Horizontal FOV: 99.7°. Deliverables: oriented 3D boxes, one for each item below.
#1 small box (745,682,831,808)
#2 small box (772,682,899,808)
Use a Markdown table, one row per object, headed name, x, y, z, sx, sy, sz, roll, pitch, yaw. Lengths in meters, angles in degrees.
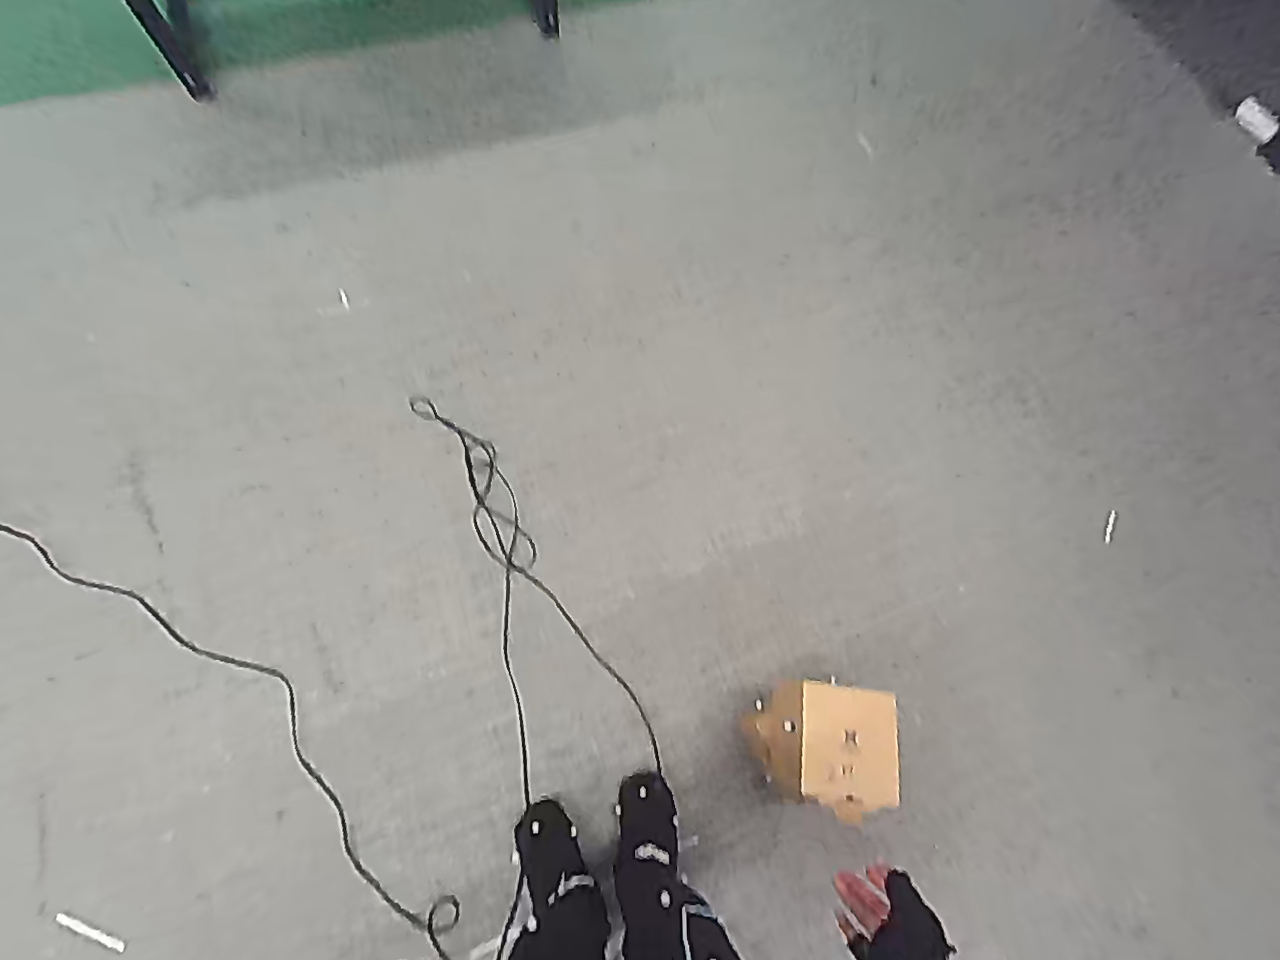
| name | x | y | z | sx | sy | sz | roll | pitch | yaw |
| --- | --- | --- | --- | --- | --- | --- | --- | --- | --- |
| small box | 0.333 | 0.535 | 1.114 | 0.179 | 0.176 | 0.168 | -24 | 74 | -13 |
| small box | 0.345 | 0.468 | 0.982 | 0.168 | 0.176 | 0.179 | 8 | 70 | -2 |
